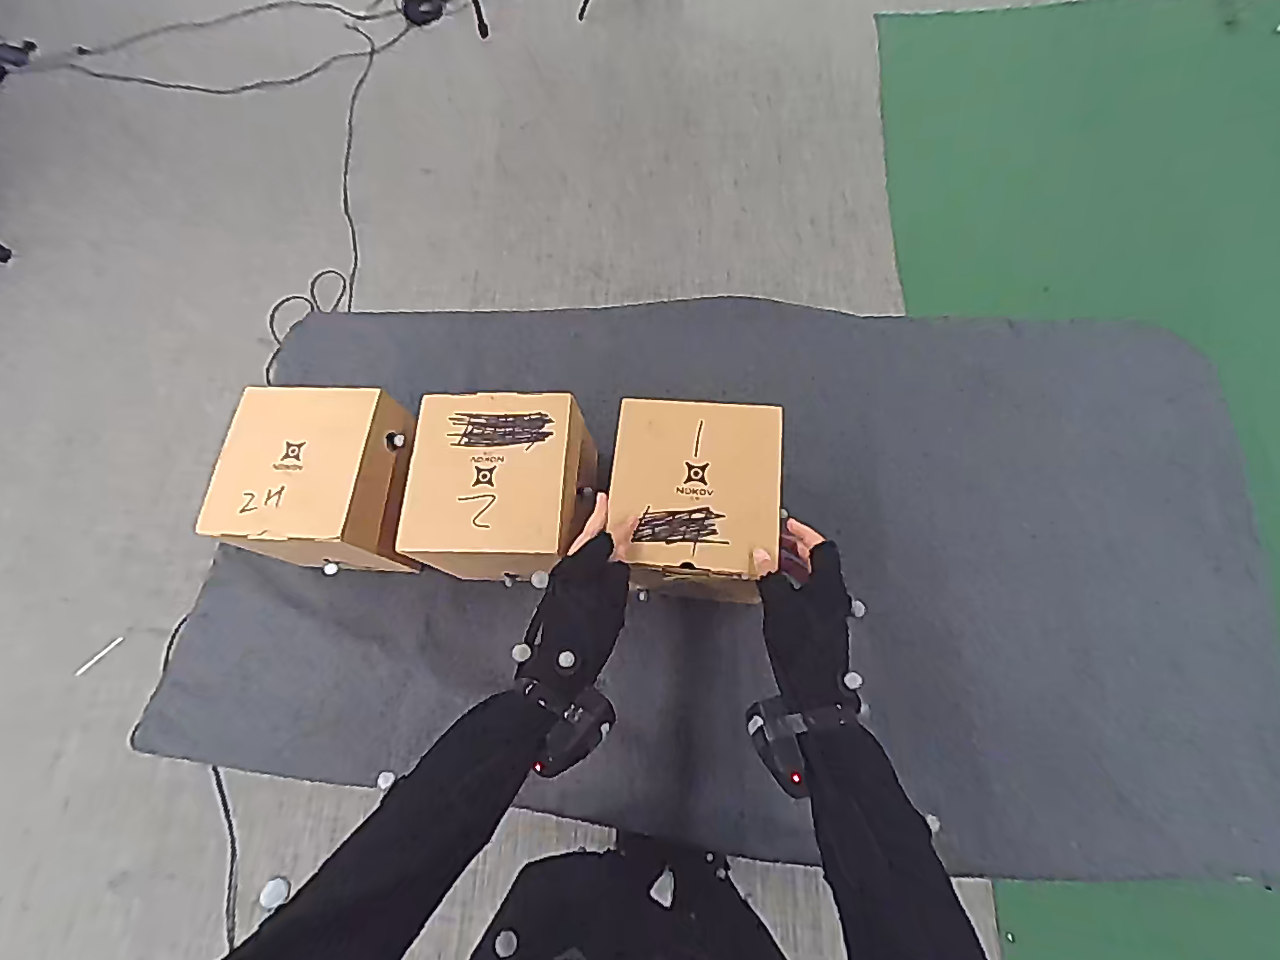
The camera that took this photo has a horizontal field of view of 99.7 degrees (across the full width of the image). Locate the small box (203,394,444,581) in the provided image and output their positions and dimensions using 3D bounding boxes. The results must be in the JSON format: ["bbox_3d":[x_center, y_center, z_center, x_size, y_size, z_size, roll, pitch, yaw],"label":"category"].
[{"bbox_3d":[-0.358,0.014,0.655,0.168,0.176,0.179,2,69,7],"label":"small box"}]

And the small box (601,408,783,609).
[{"bbox_3d":[0.062,0.040,0.601,0.168,0.176,0.179,5,69,8],"label":"small box"}]
